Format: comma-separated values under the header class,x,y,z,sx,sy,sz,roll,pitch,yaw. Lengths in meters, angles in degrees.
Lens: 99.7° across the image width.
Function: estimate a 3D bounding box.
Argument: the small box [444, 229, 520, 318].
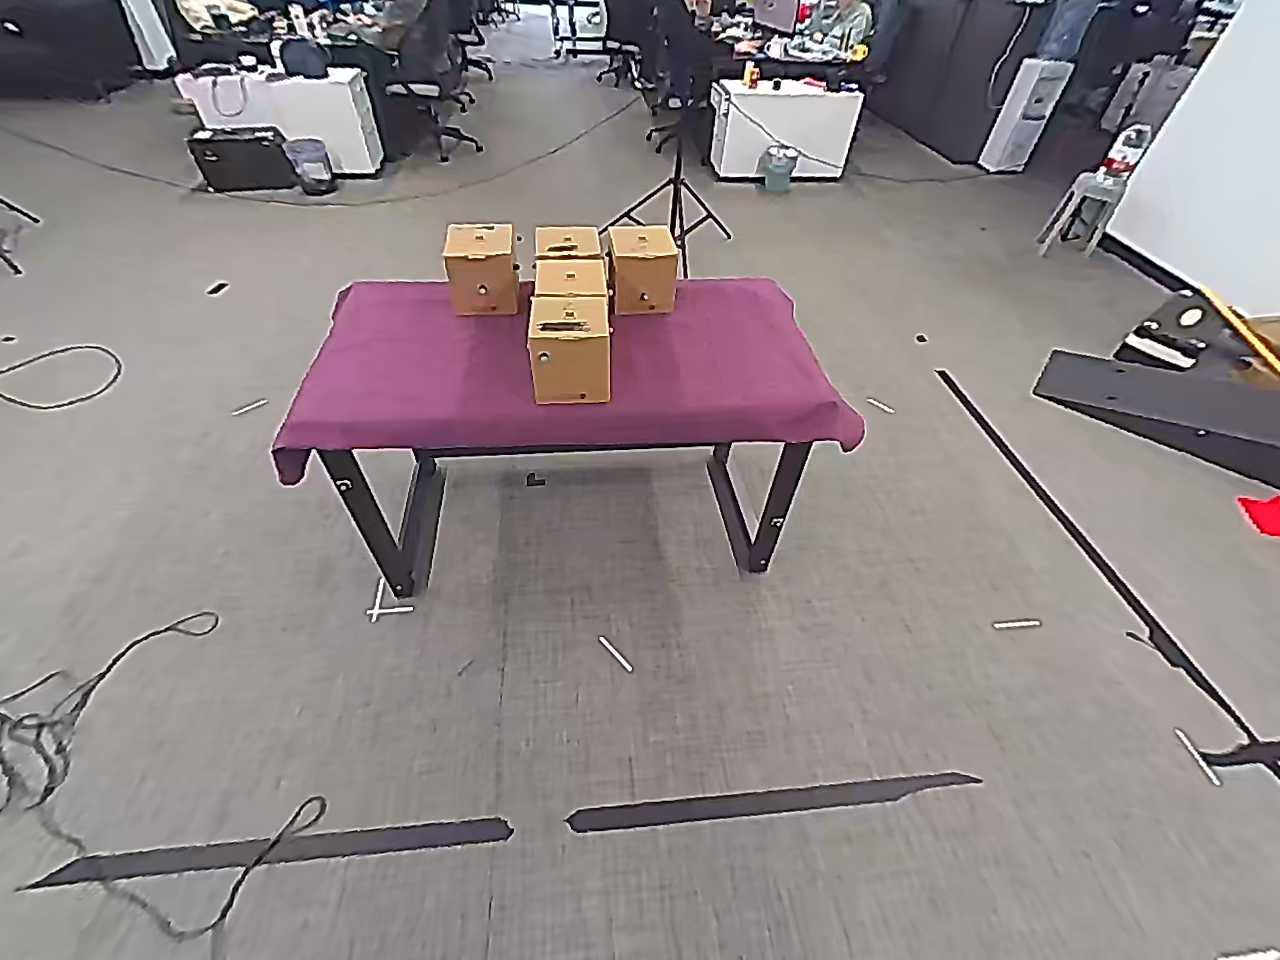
class,x,y,z,sx,sy,sz,roll,pitch,yaw
small box,-0.414,-0.547,1.445,0.168,0.176,0.179,-4,50,-7
